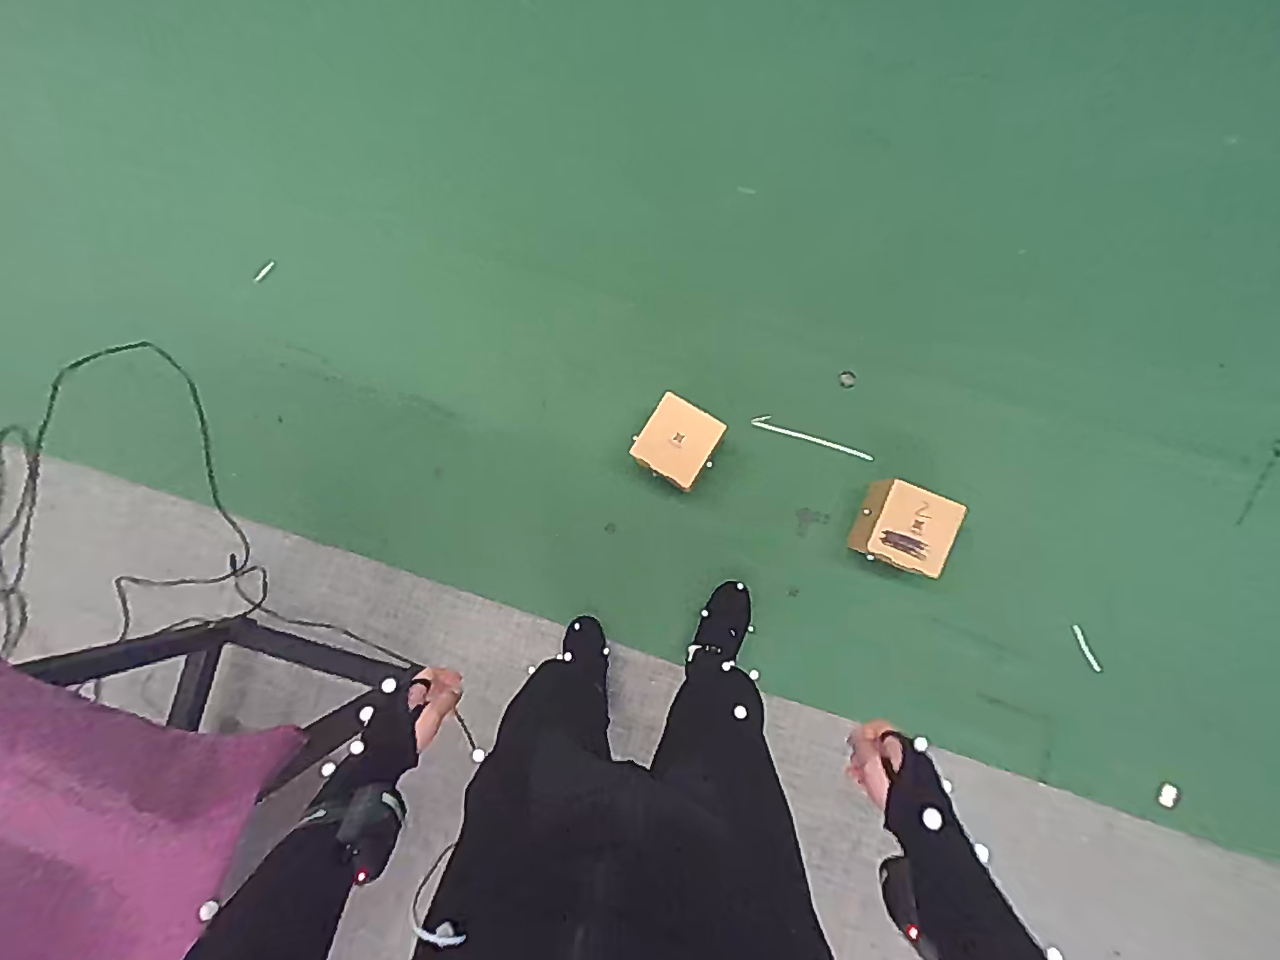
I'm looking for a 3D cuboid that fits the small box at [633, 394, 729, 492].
[{"bbox_3d":[0.101,-0.084,1.336,0.168,0.176,0.179,32,91,7],"label":"small box"}]
